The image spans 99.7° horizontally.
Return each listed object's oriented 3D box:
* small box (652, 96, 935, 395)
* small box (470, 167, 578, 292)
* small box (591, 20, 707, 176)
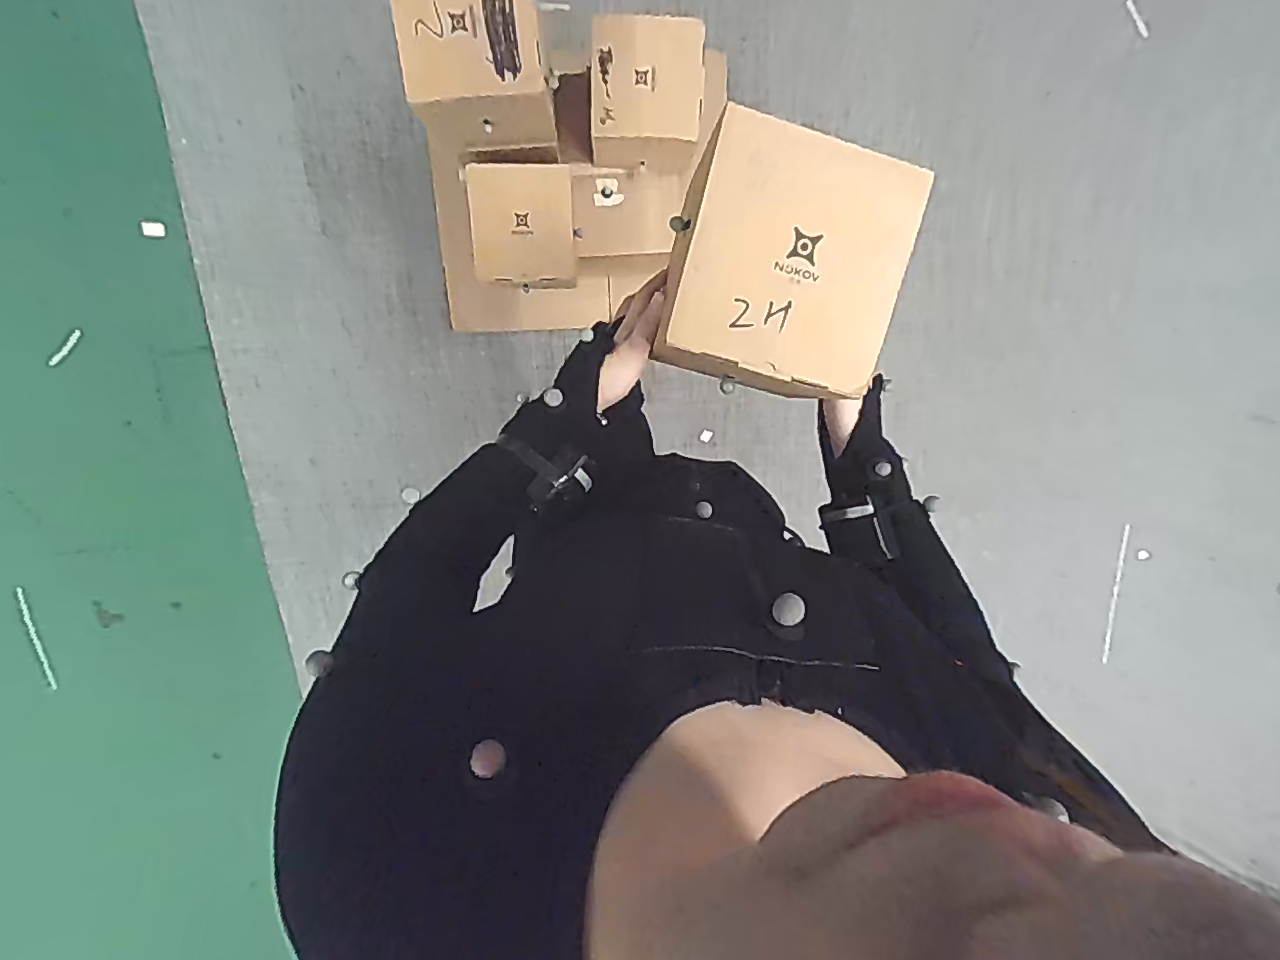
[{"bbox_3d":[0.113,-0.181,0.480,0.168,0.176,0.179,15,97,-7],"label":"small box"},{"bbox_3d":[-0.195,-0.430,0.951,0.168,0.176,0.179,-2,106,-4],"label":"small box"},{"bbox_3d":[0.009,-0.630,0.914,0.179,0.176,0.168,1,104,-2],"label":"small box"}]
